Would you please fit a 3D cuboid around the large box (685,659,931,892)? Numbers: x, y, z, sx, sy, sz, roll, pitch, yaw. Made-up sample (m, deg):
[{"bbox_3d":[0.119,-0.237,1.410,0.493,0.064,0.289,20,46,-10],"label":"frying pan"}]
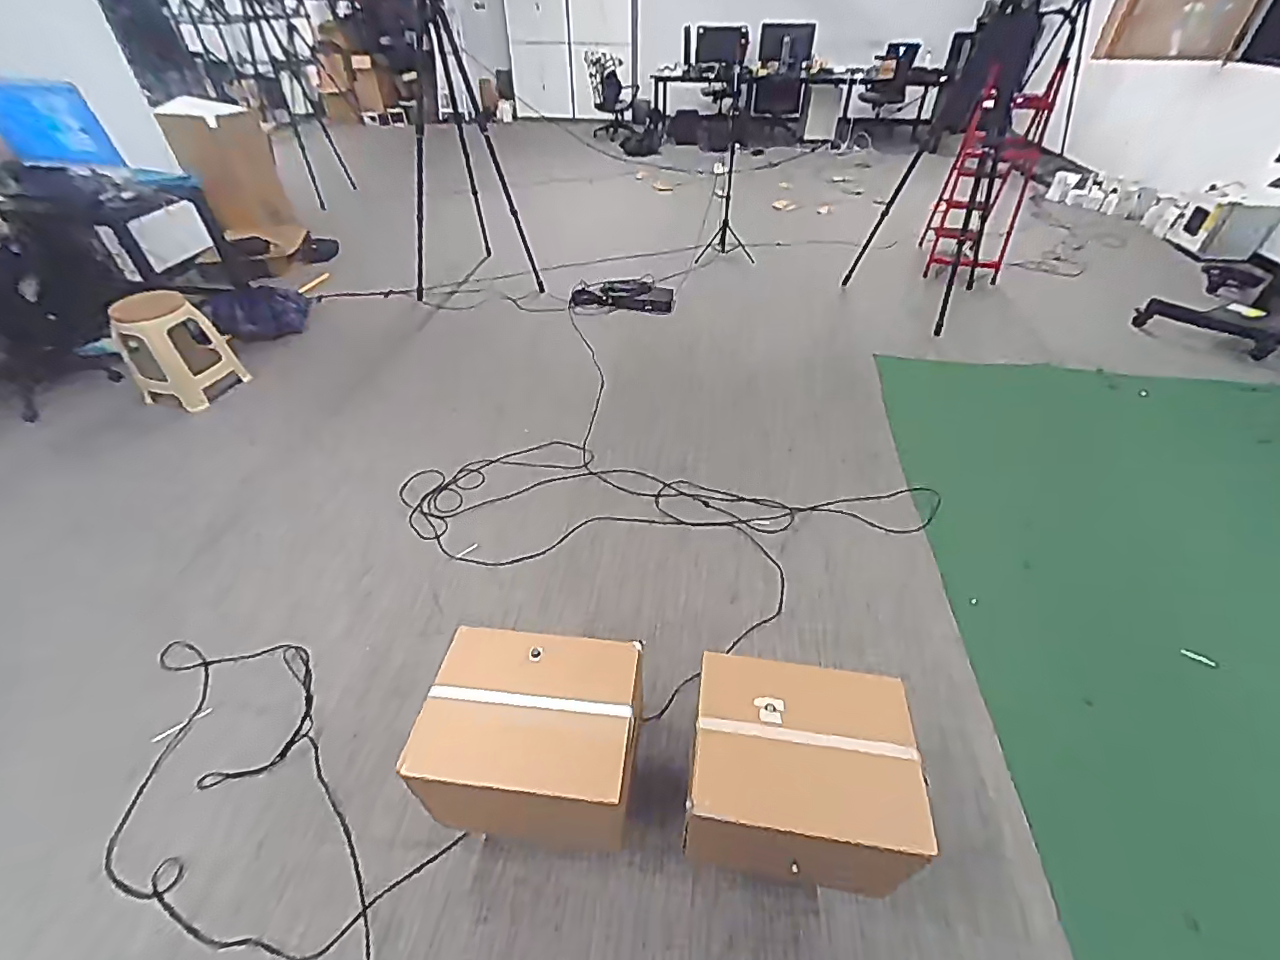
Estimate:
[{"bbox_3d":[0.311,0.608,1.120,0.408,0.320,0.320,6,42,7],"label":"large box"}]
